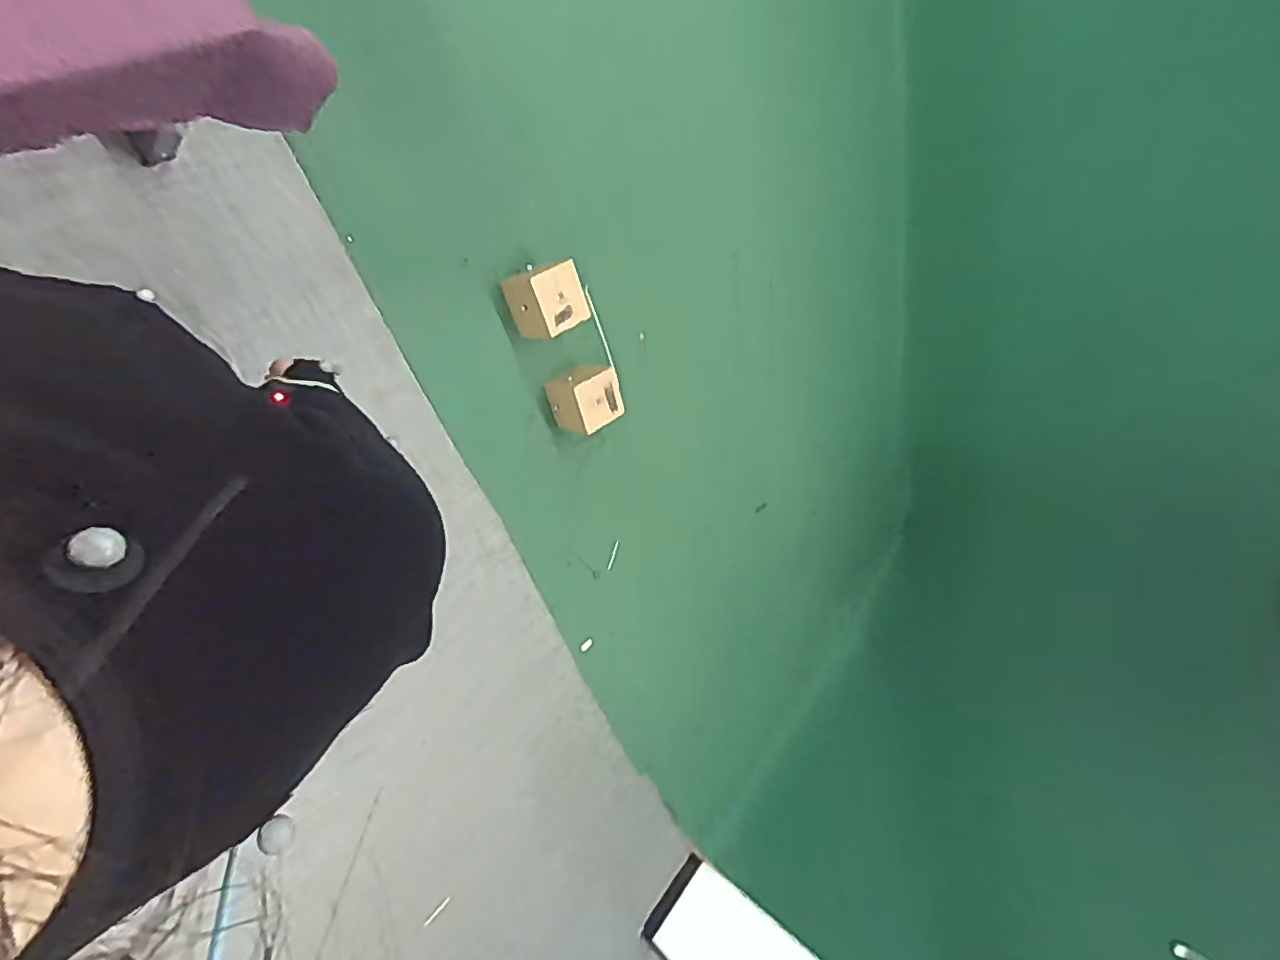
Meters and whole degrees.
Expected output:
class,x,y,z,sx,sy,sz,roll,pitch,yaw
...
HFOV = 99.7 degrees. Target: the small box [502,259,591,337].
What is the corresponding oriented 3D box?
class,x,y,z,sx,sy,sz,roll,pitch,yaw
small box,-0.282,-0.546,1.626,0.168,0.176,0.179,-39,125,-30
